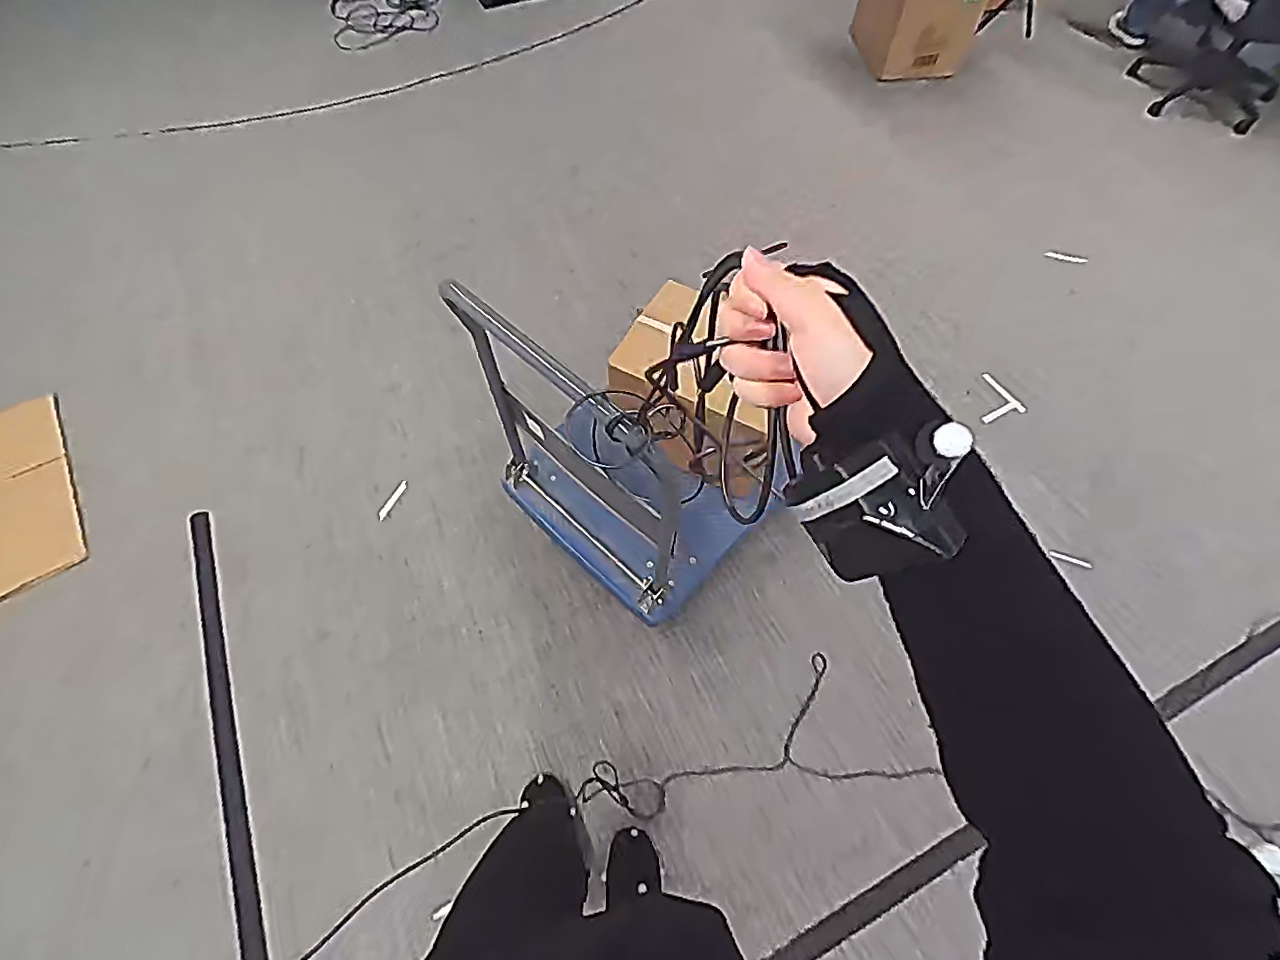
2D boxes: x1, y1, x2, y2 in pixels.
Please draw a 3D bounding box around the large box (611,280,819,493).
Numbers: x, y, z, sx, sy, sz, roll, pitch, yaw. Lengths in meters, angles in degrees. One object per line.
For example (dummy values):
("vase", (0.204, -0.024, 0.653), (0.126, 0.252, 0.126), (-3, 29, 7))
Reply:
("large box", (0.172, -0.232, 1.378), (0.408, 0.320, 0.320), (27, 66, 12))
